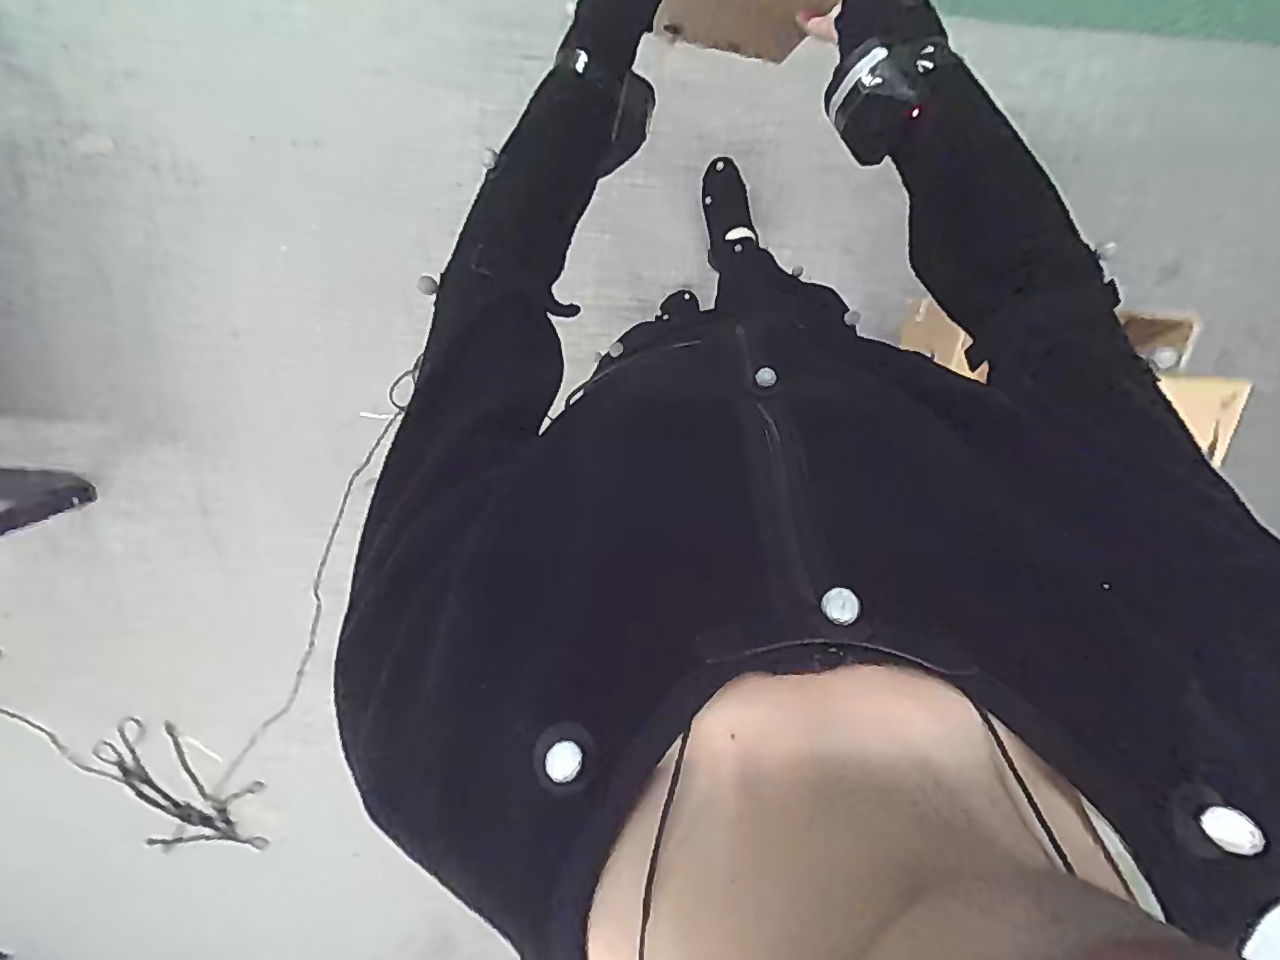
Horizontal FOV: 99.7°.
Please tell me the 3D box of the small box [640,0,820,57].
[{"bbox_3d":[0.095,-0.526,0.489,0.168,0.176,0.179,4,107,-9],"label":"small box"}]
